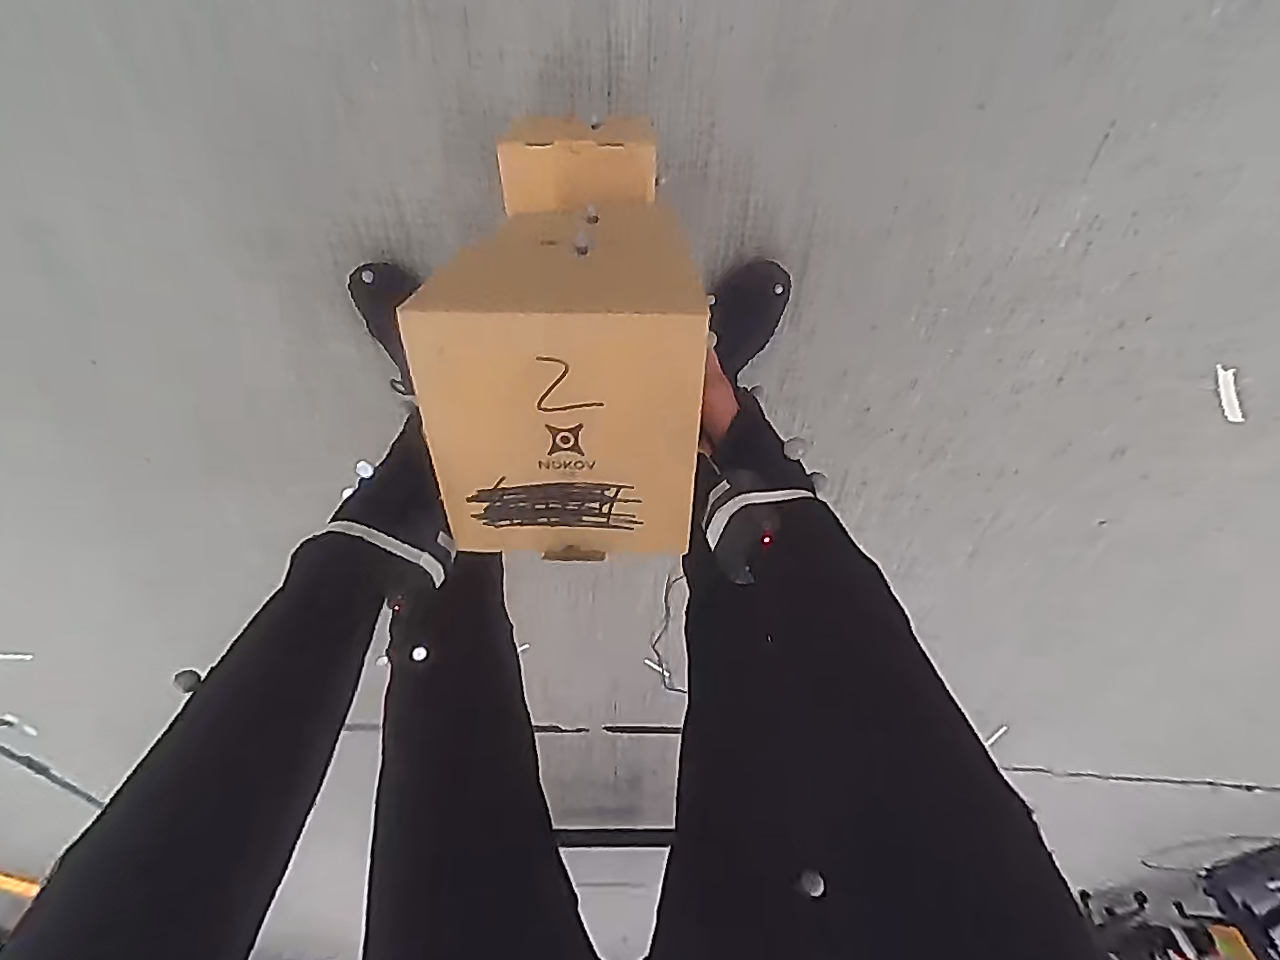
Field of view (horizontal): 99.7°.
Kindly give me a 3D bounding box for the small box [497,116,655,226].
[{"bbox_3d":[-0.066,-0.333,0.669,0.168,0.176,0.179,0,130,0],"label":"small box"}]
